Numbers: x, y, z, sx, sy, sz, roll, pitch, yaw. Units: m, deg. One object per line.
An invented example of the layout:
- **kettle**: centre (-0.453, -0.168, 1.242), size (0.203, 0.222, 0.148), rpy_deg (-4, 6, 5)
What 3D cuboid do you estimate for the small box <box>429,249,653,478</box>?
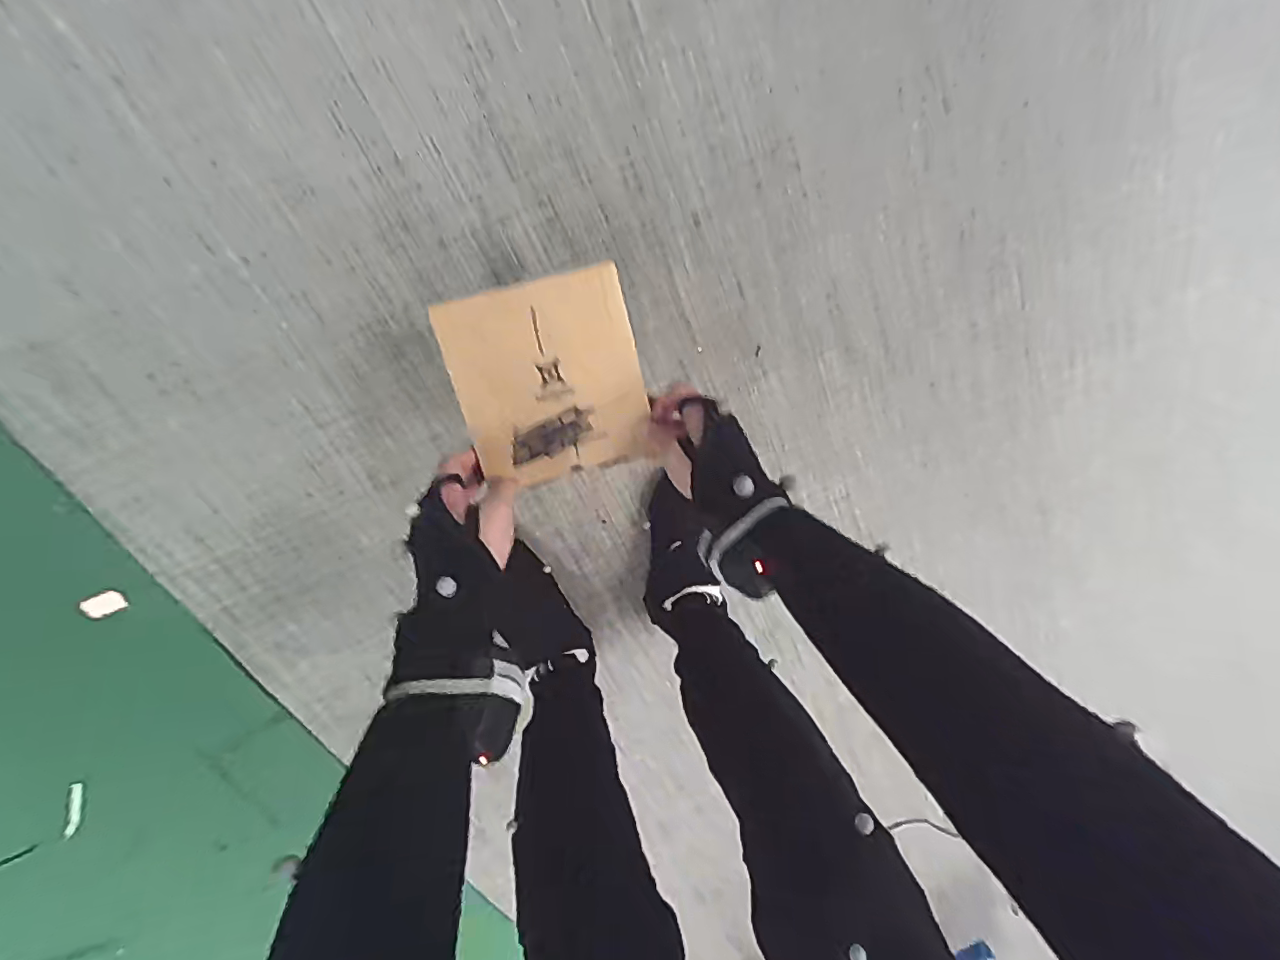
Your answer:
- **small box**: centre (-0.097, -0.122, 0.563), size (0.168, 0.176, 0.179), rpy_deg (-17, 107, -8)
